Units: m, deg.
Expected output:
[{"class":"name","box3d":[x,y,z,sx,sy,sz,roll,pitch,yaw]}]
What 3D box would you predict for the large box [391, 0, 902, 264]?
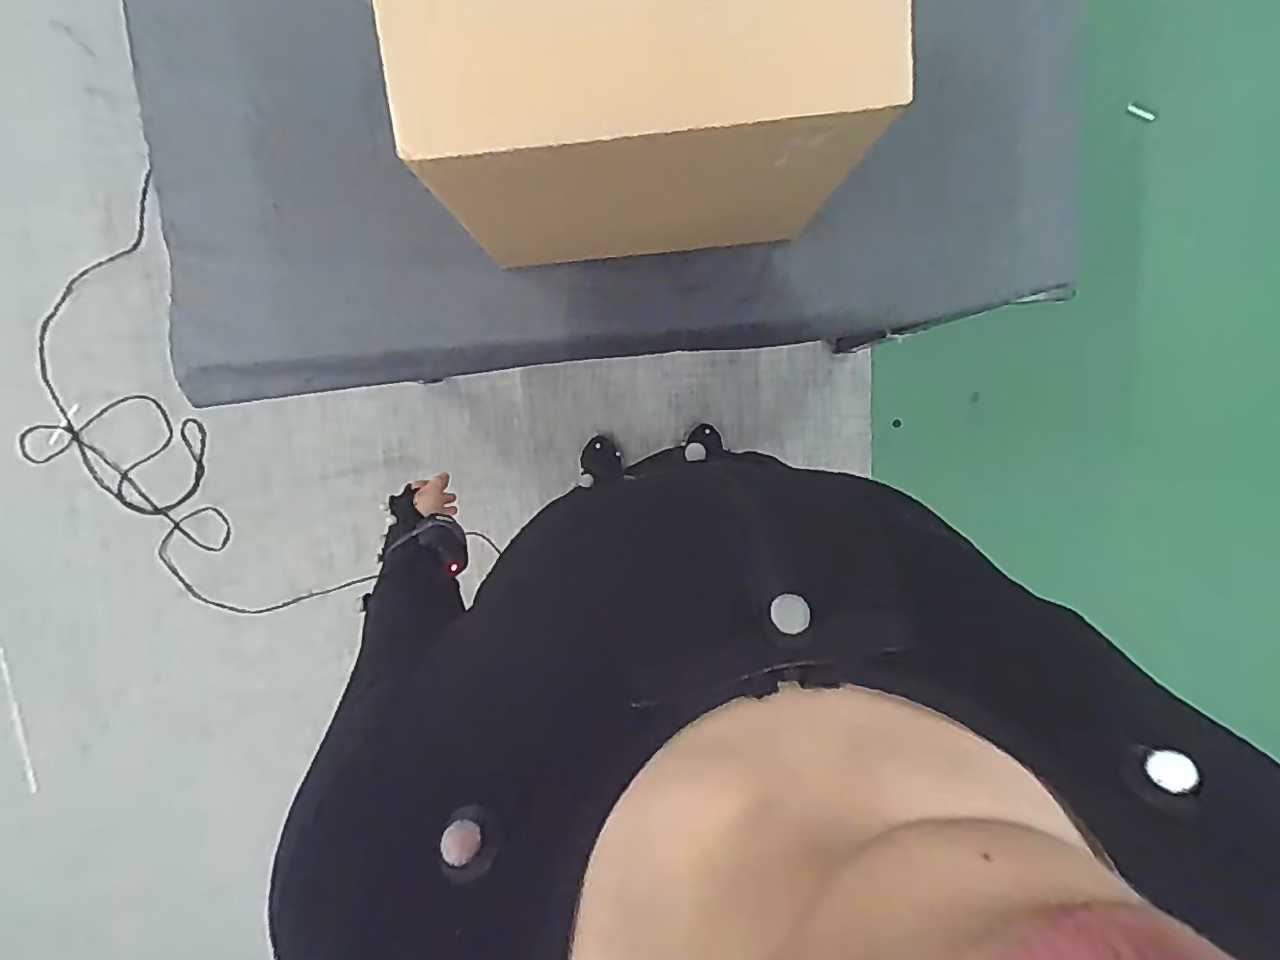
[{"class":"large box","box3d":[-0.005,-0.448,0.567,0.408,0.320,0.320,-6,97,1]}]
